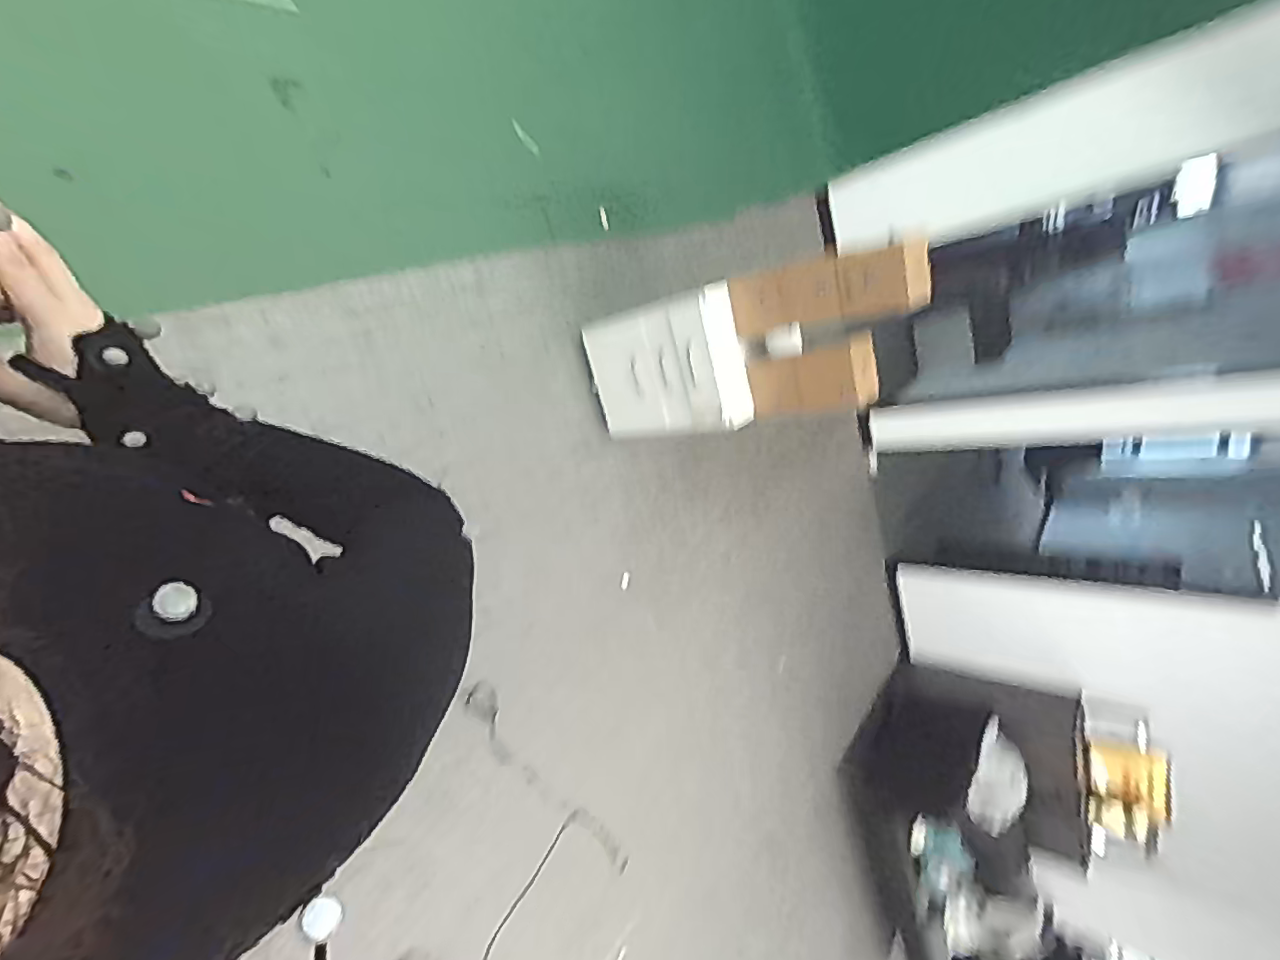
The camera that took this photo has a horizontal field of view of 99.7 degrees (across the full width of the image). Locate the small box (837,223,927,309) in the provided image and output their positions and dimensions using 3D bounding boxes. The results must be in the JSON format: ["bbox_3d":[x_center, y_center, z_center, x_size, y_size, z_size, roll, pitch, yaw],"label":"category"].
[{"bbox_3d":[0.620,-0.550,1.397,0.179,0.176,0.168,-31,114,-41],"label":"small box"}]

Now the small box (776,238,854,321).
[{"bbox_3d":[0.497,-0.558,1.507,0.168,0.176,0.179,-31,114,-41],"label":"small box"}]

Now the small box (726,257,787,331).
[{"bbox_3d":[0.375,-0.558,1.618,0.168,0.176,0.179,-30,112,-41],"label":"small box"}]

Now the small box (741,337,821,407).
[{"bbox_3d":[0.440,-0.332,1.691,0.168,0.176,0.179,-32,111,-42],"label":"small box"}]
